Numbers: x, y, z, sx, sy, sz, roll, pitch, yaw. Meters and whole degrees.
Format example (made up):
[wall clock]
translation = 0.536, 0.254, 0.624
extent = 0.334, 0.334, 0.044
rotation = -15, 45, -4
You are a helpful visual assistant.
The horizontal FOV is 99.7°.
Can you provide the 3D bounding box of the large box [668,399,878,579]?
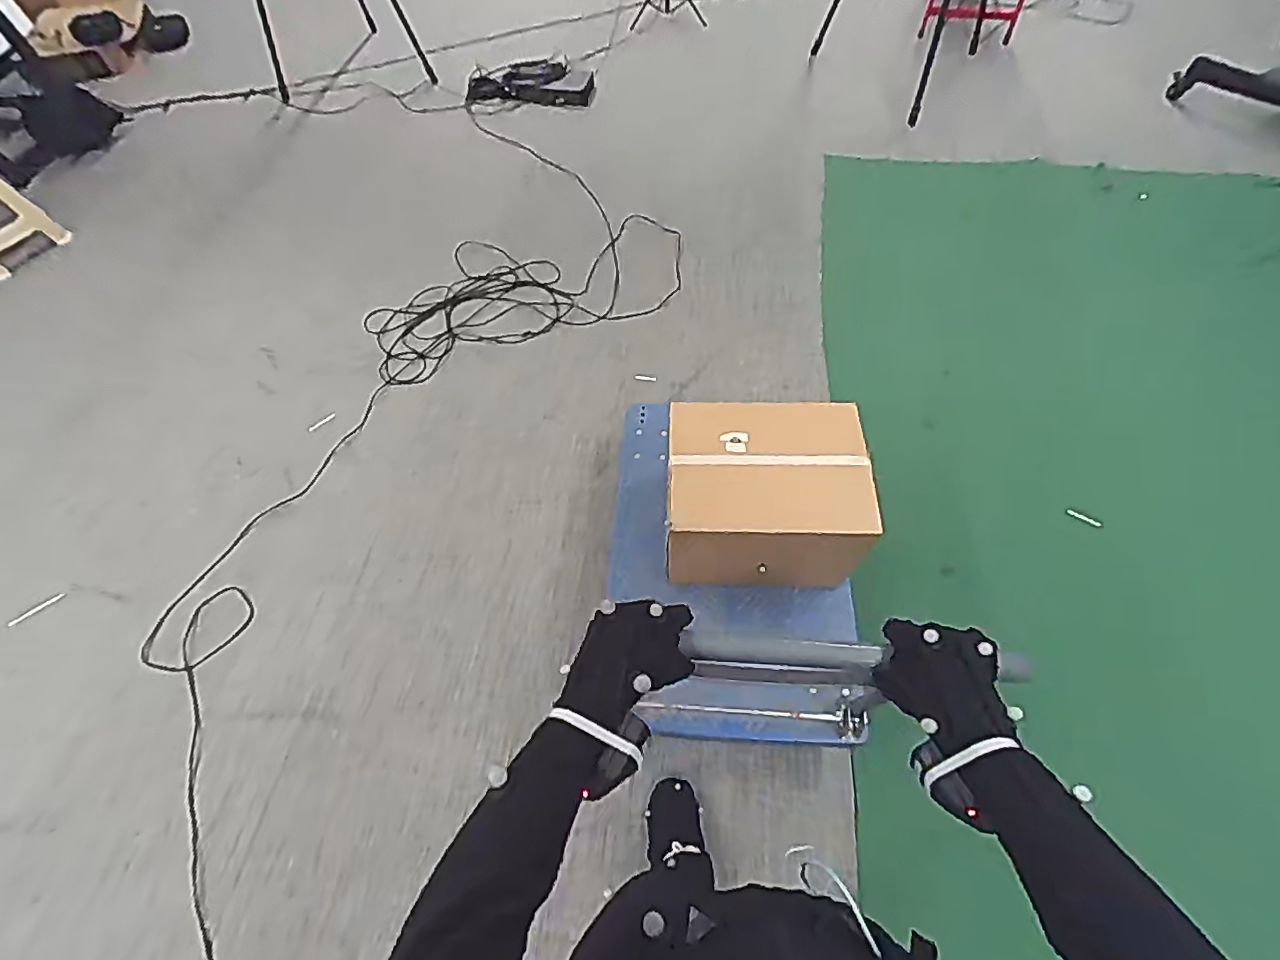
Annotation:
[large box]
translation = 0.273, 0.034, 1.249
extent = 0.408, 0.320, 0.320
rotation = -1, 60, 4
